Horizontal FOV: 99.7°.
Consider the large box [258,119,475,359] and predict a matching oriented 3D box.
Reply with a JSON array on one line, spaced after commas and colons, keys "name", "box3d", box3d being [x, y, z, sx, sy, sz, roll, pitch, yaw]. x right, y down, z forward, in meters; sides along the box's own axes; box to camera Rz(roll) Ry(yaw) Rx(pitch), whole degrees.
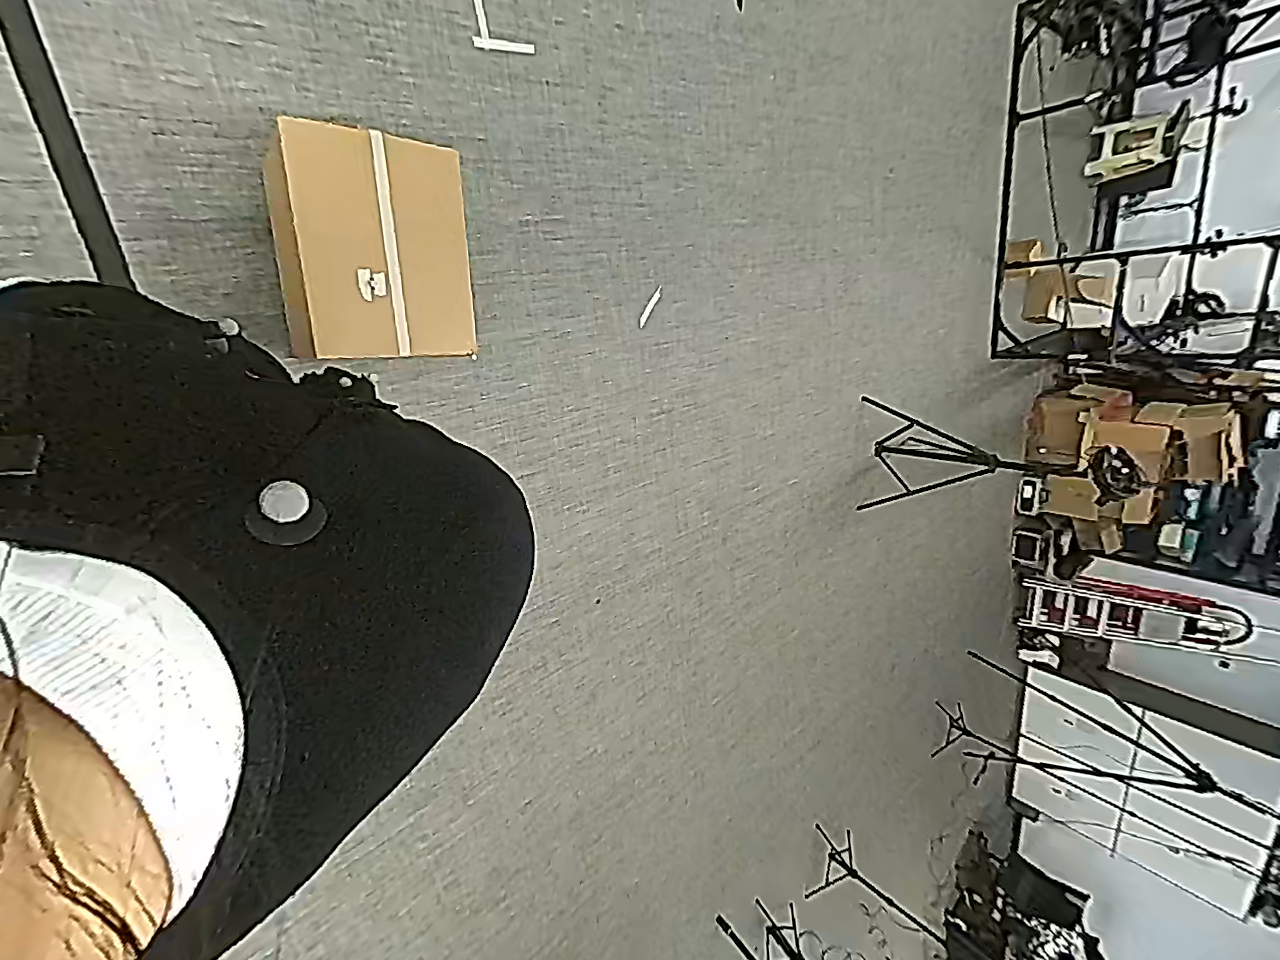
[{"name": "large box", "box3d": [-0.582, -0.475, 1.159, 0.320, 0.320, 0.408, -12, 108, -36]}]
